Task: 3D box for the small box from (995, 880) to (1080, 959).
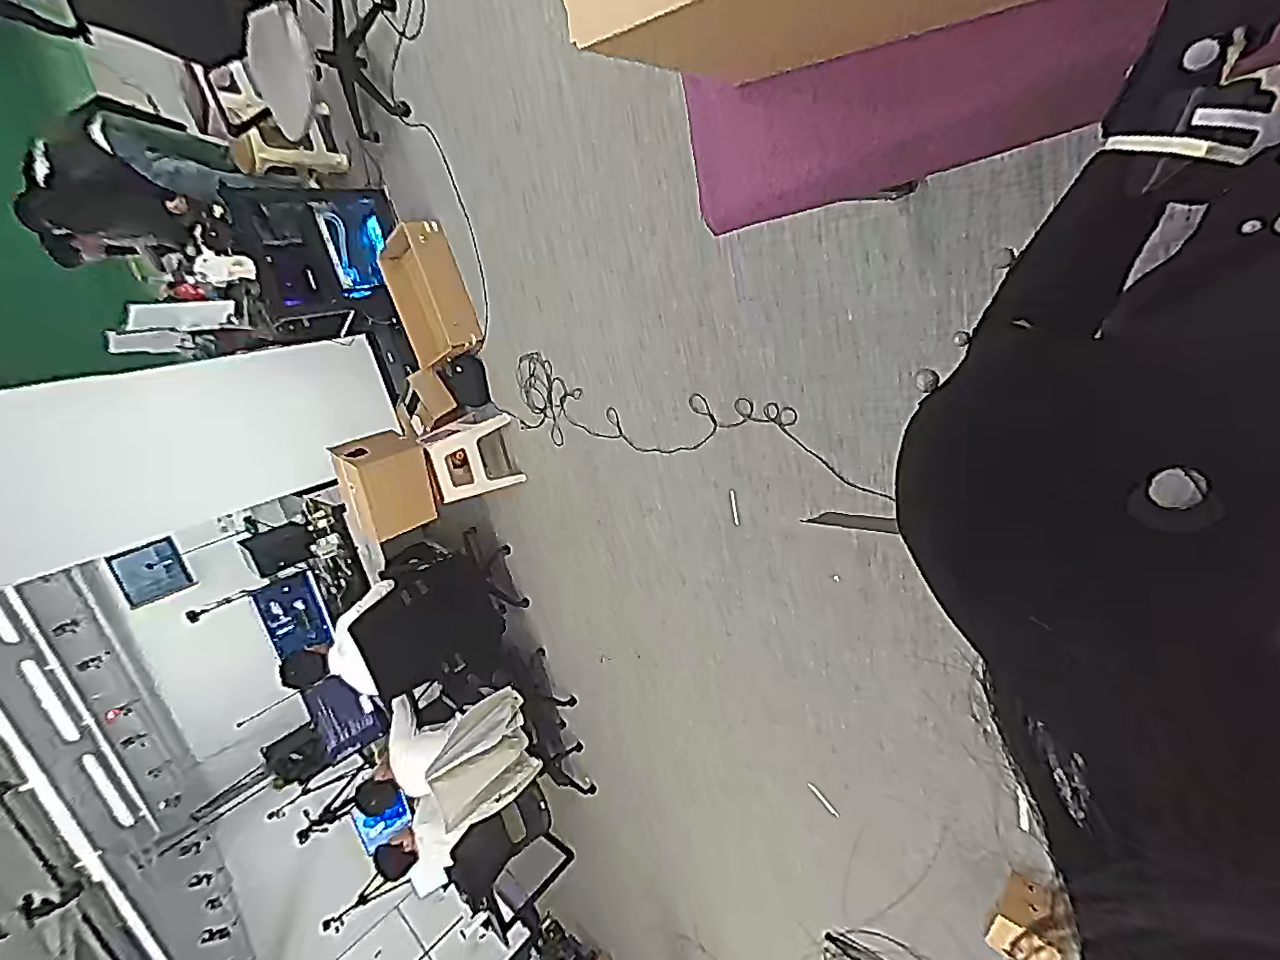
[{"bbox_3d":[1.235,1.402,1.675,0.168,0.176,0.179,21,124,38],"label":"small box"}]
